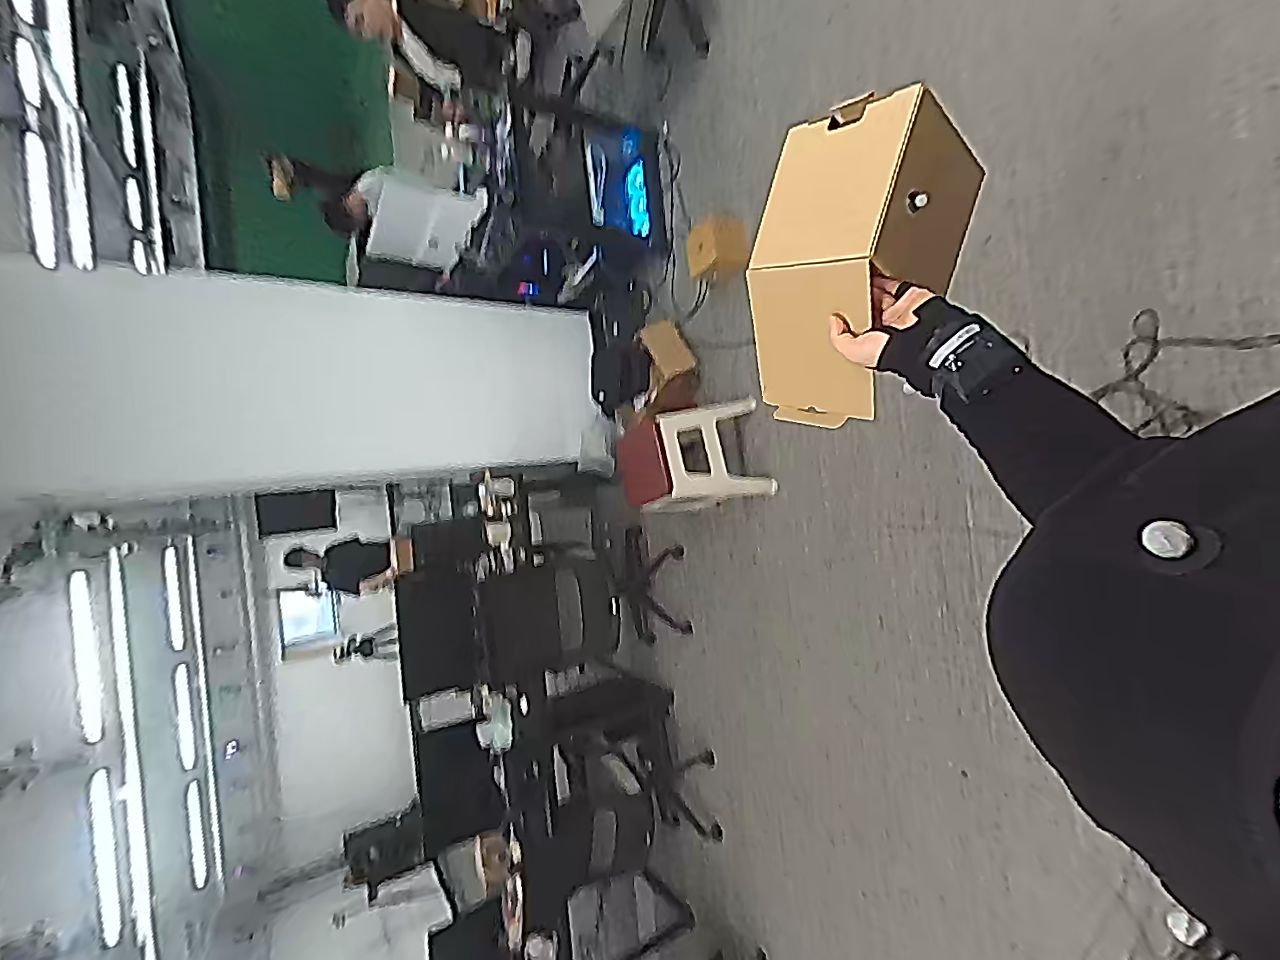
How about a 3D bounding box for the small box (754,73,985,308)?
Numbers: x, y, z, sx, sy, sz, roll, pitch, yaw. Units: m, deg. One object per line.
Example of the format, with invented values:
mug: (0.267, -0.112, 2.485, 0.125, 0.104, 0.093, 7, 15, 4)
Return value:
small box: (0.269, -0.312, 0.633, 0.168, 0.176, 0.179, 22, 97, 51)
